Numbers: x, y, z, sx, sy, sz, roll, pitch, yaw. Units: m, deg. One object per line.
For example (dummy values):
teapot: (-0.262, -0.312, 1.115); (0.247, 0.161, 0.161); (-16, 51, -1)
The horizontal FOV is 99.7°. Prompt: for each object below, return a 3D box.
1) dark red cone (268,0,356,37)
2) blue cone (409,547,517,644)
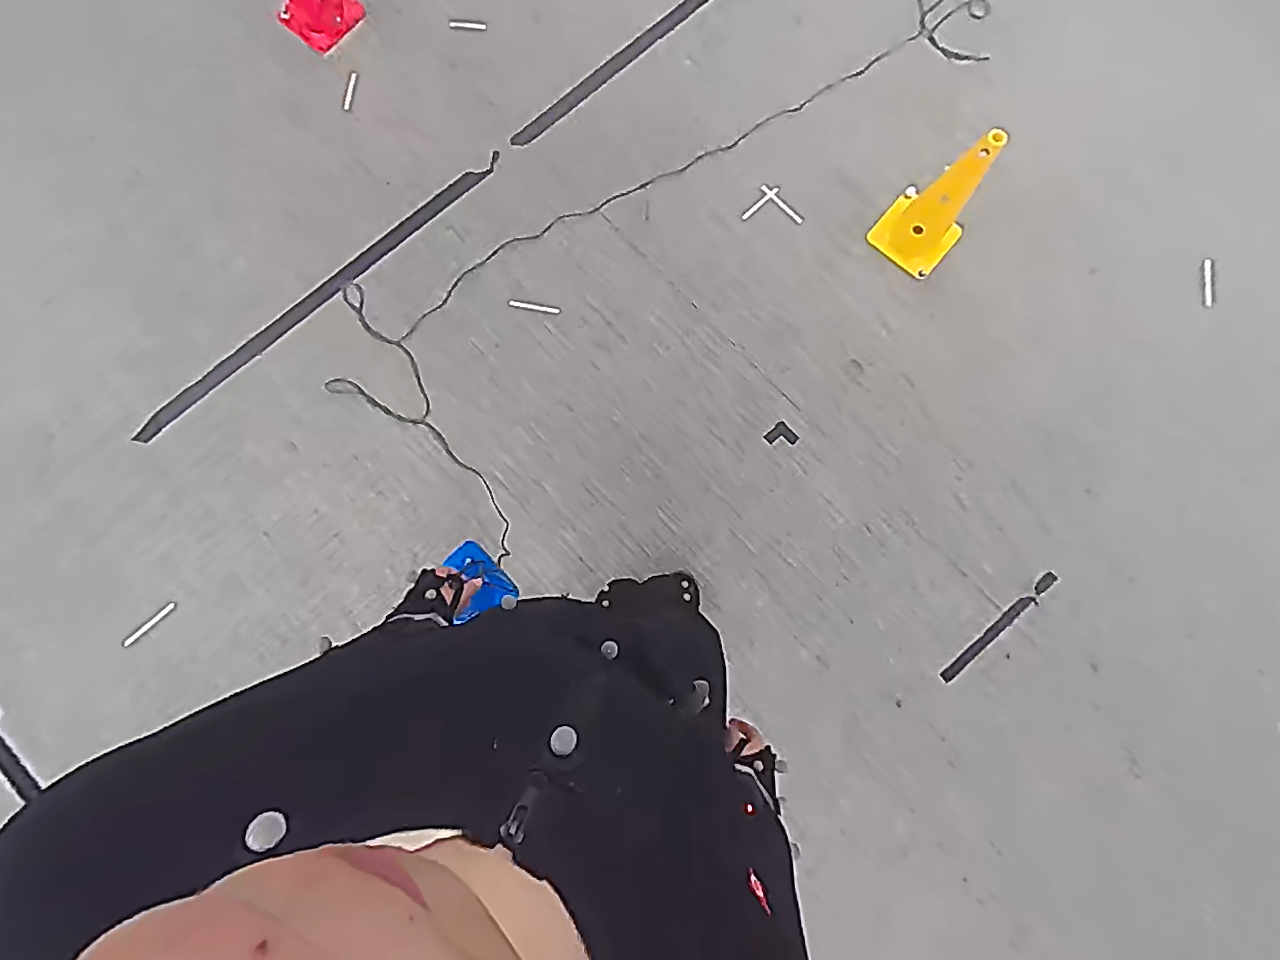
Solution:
dark red cone: (-0.935, -1.407, 1.393); (0.201, 0.394, 0.202); (40, 84, 4)
blue cone: (-0.425, 0.266, 1.193); (0.193, 0.380, 0.192); (-41, 85, -5)
